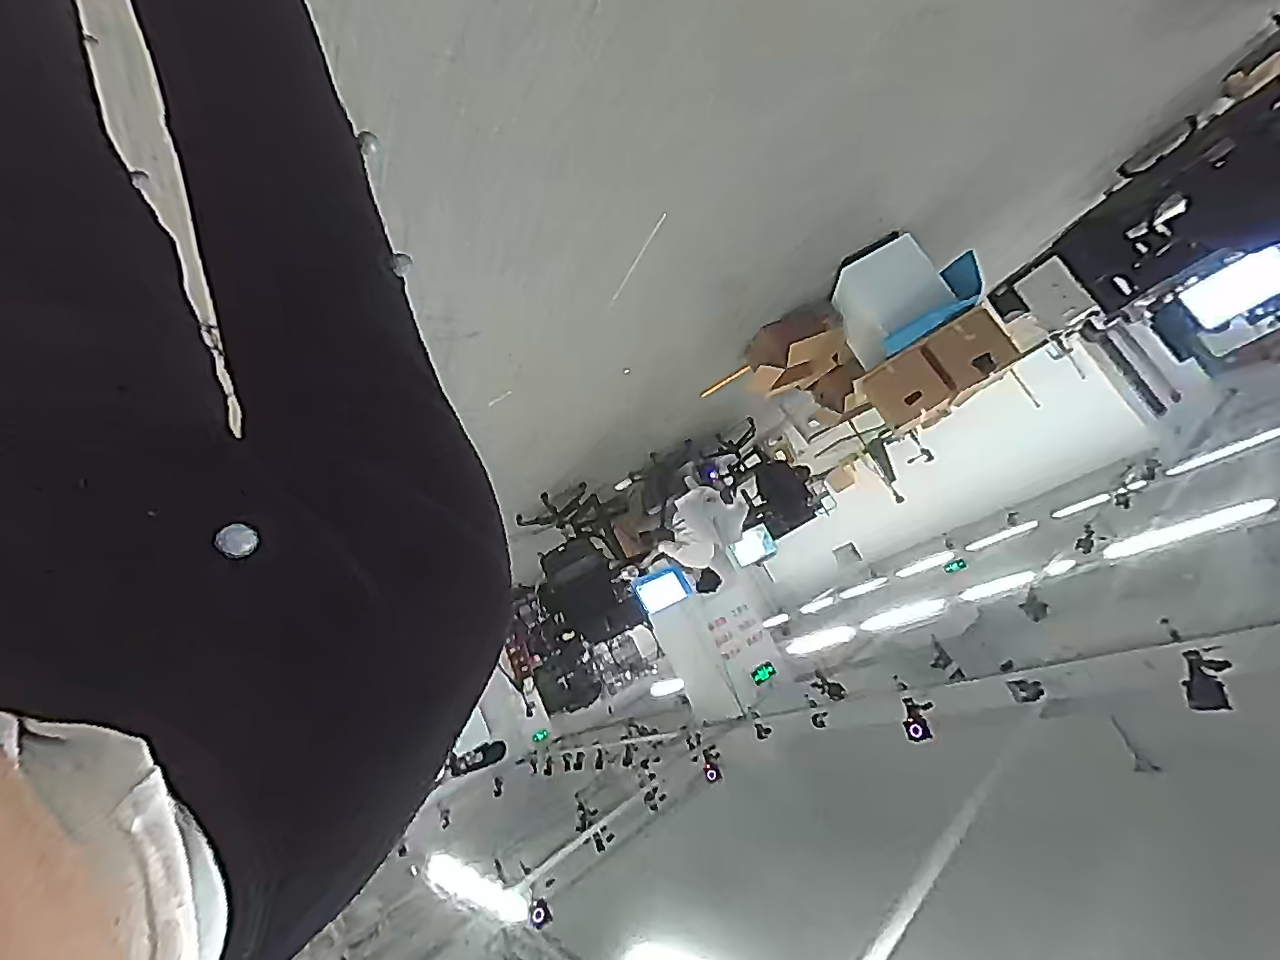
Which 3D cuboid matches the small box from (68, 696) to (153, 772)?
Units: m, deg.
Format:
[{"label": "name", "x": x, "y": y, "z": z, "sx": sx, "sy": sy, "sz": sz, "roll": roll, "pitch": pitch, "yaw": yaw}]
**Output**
[{"label": "small box", "x": -1.750, "y": 0.840, "z": 1.792, "sx": 0.168, "sy": 0.176, "sz": 0.179, "roll": -17, "pitch": 164, "yaw": -41}]
